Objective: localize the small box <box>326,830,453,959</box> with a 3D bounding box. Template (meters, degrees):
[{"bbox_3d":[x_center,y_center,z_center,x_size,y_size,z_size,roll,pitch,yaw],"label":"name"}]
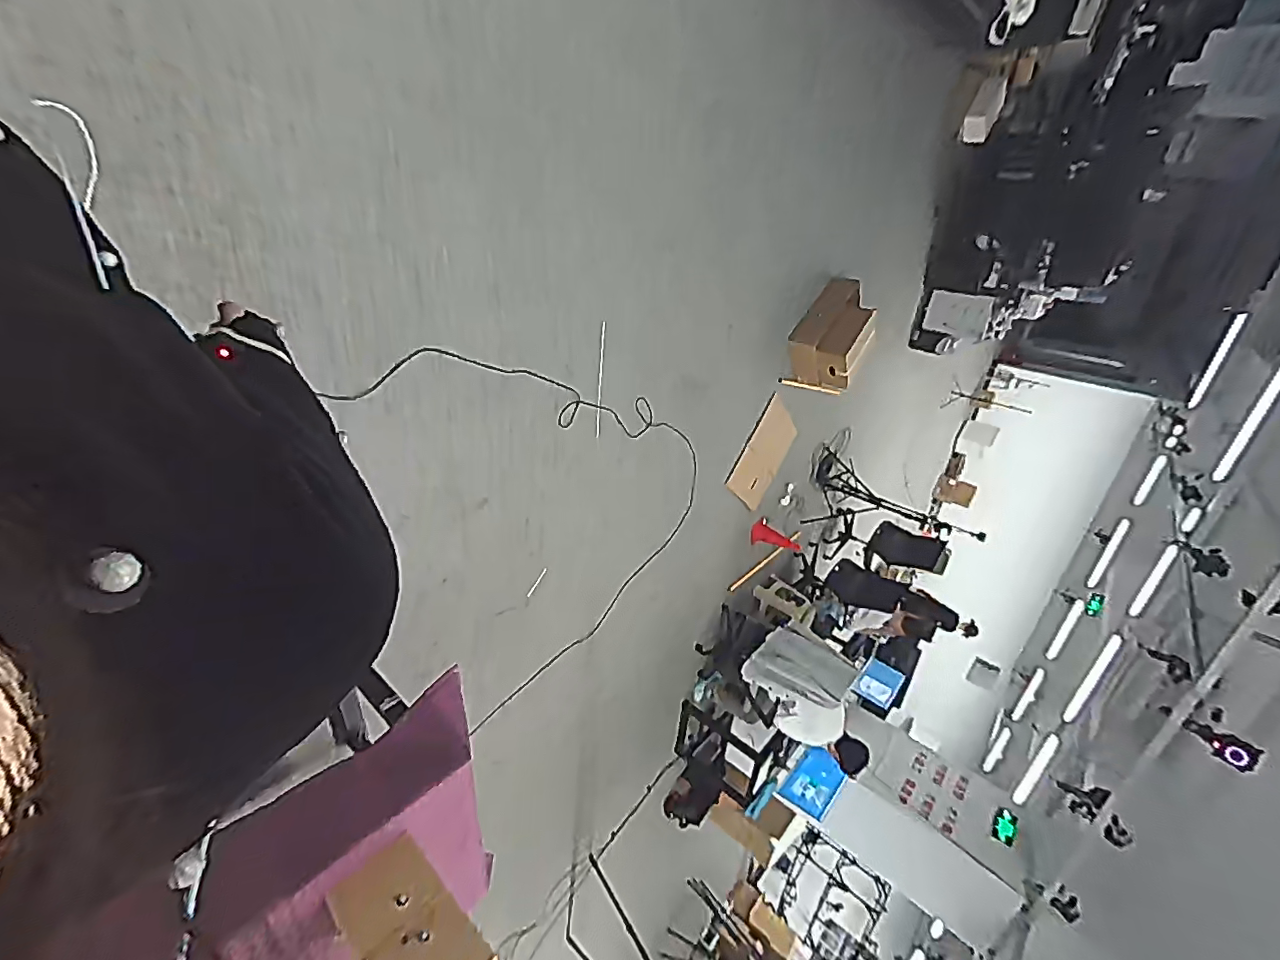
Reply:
[{"bbox_3d":[-0.519,0.889,1.129,0.179,0.176,0.168,-24,129,-43],"label":"small box"}]
